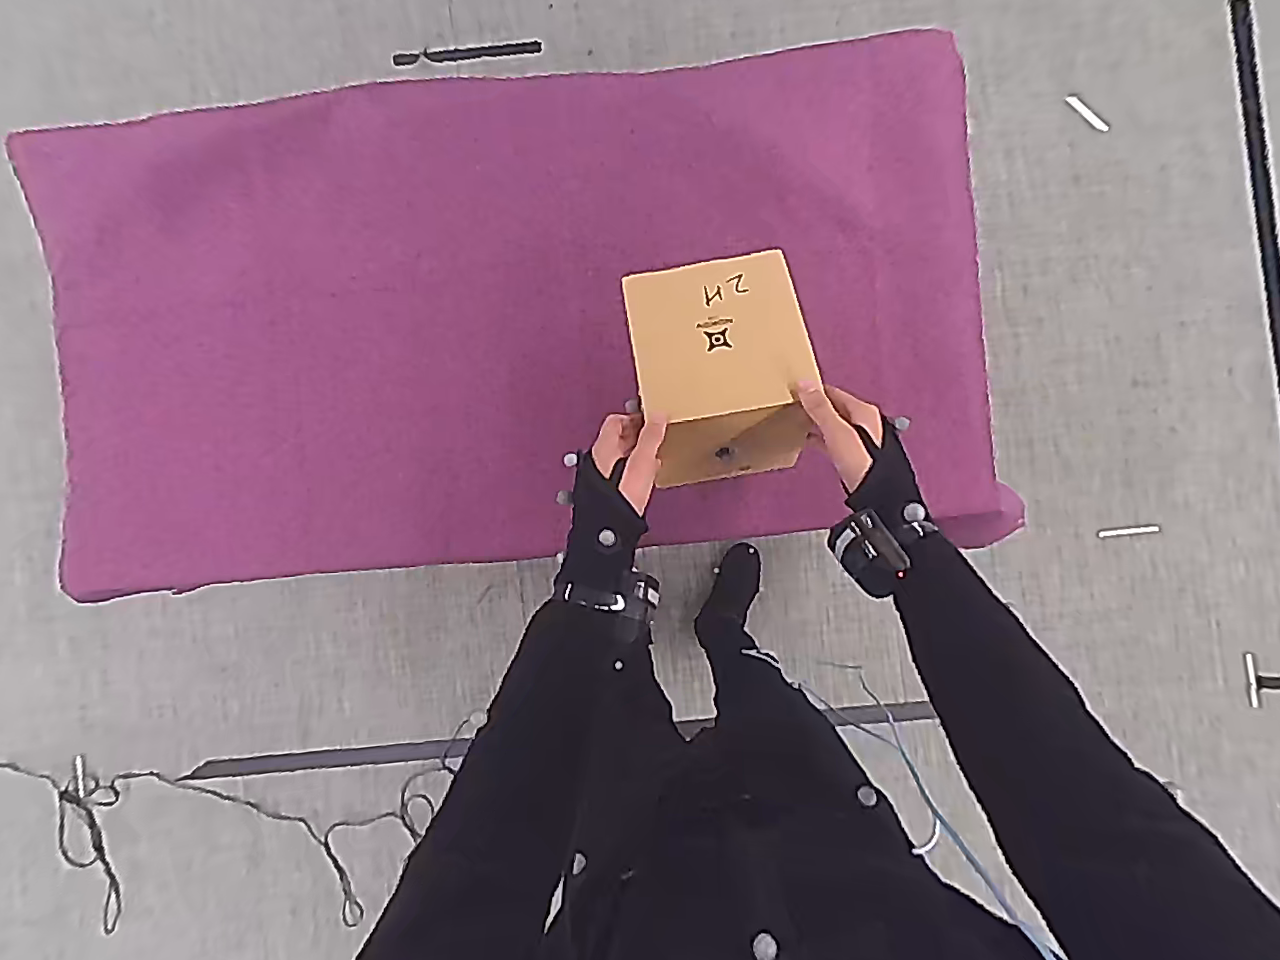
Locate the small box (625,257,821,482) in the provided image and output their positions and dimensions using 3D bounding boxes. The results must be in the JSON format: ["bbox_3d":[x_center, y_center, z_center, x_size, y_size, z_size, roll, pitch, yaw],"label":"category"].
[{"bbox_3d":[0.082,-0.106,0.594,0.168,0.176,0.179,-9,70,2],"label":"small box"}]
